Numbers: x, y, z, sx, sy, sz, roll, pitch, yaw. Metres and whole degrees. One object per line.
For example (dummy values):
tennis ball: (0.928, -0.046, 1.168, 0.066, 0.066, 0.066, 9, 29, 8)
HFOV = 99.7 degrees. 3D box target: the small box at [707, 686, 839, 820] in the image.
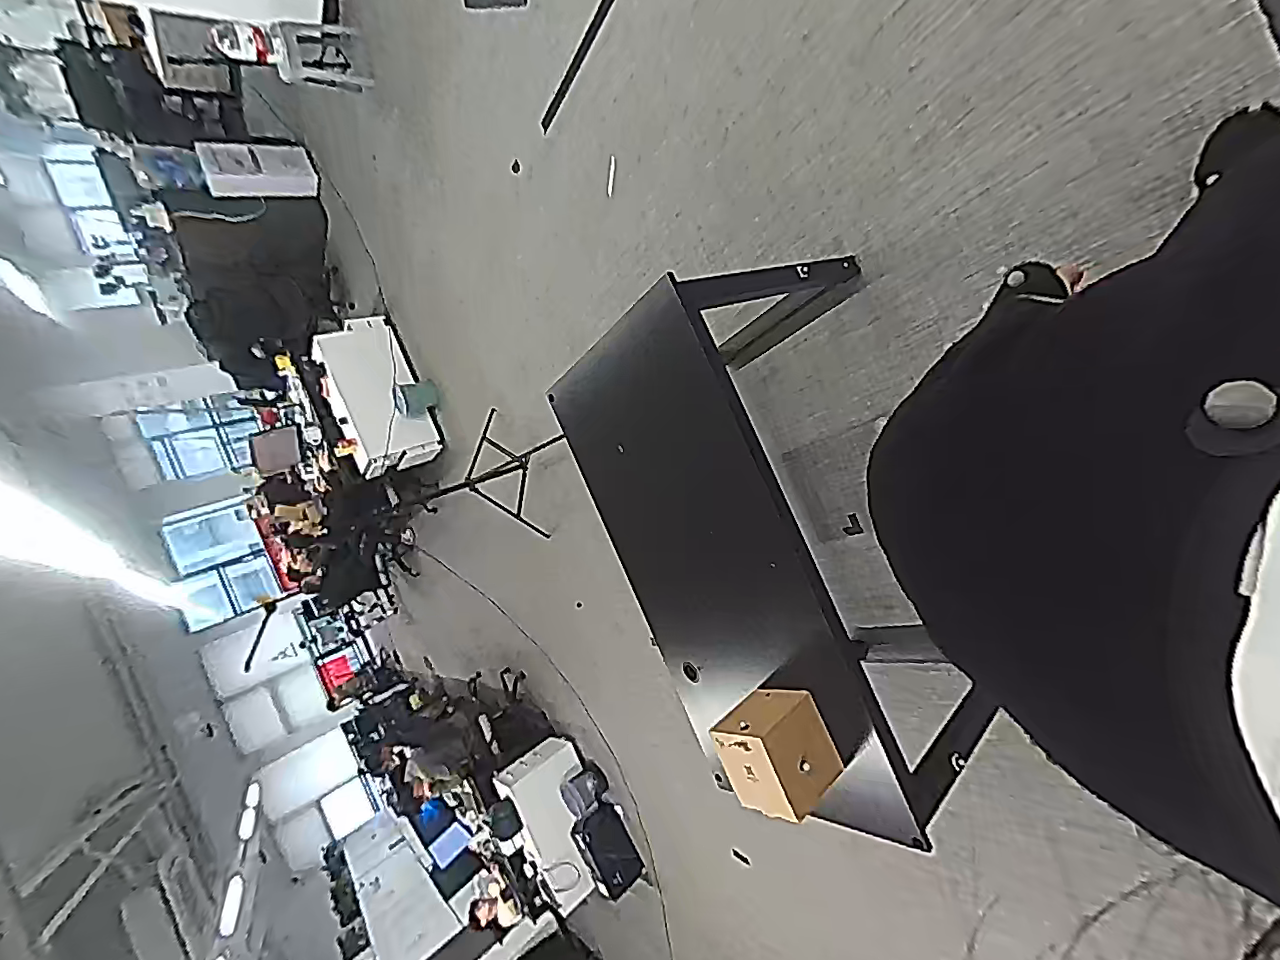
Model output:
small box: (0.281, 0.558, 1.132, 0.168, 0.176, 0.179, -29, 86, 54)
